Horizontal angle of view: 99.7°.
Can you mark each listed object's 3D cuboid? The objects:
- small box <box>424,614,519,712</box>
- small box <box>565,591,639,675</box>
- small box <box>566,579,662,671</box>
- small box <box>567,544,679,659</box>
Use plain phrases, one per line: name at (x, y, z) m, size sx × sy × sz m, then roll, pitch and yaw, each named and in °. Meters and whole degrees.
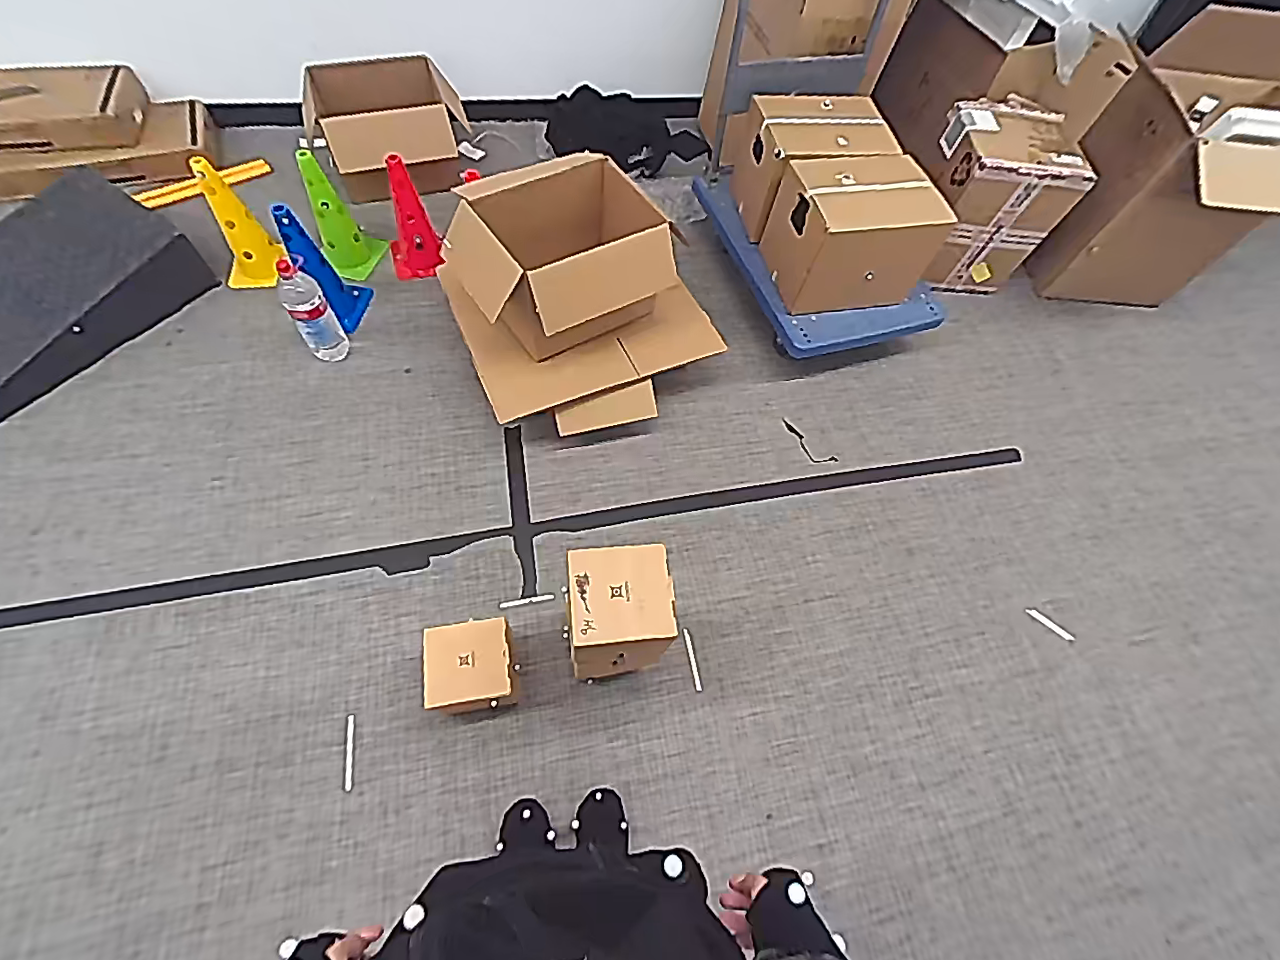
small box at (-0.375, 0.415, 1.216) m, size 0.179 × 0.176 × 0.168 m, roll -7°, pitch 64°, yaw -11°
small box at (-0.084, 0.355, 1.281) m, size 0.168 × 0.176 × 0.179 m, roll -8°, pitch 63°, yaw -11°
small box at (-0.058, 0.295, 1.129) m, size 0.179 × 0.176 × 0.168 m, roll -6°, pitch 64°, yaw -11°
small box at (-0.039, 0.223, 0.982) m, size 0.179 × 0.176 × 0.168 m, roll -2°, pitch 63°, yaw -10°
